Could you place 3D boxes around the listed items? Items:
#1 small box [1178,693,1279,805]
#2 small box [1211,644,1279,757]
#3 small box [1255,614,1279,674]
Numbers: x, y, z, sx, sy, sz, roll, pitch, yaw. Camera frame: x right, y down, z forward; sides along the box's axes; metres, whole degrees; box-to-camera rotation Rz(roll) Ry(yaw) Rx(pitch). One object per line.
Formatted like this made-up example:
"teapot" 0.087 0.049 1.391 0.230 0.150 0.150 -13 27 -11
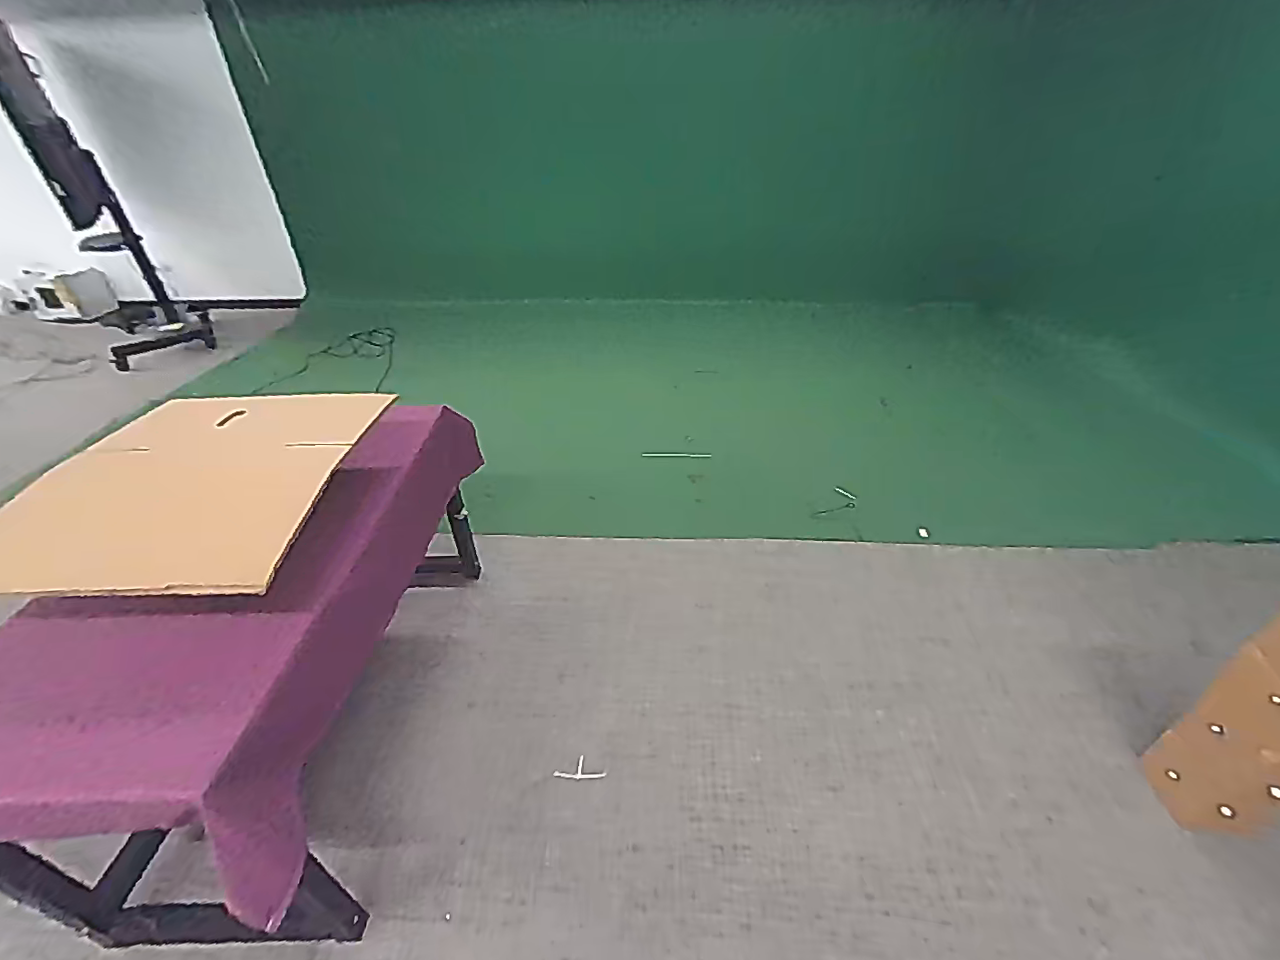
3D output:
"small box" 1.452 0.635 1.280 0.168 0.176 0.179 2 35 6
"small box" 1.450 0.495 1.198 0.168 0.176 0.179 4 36 8
"small box" 1.449 0.362 1.100 0.168 0.176 0.179 6 34 10
